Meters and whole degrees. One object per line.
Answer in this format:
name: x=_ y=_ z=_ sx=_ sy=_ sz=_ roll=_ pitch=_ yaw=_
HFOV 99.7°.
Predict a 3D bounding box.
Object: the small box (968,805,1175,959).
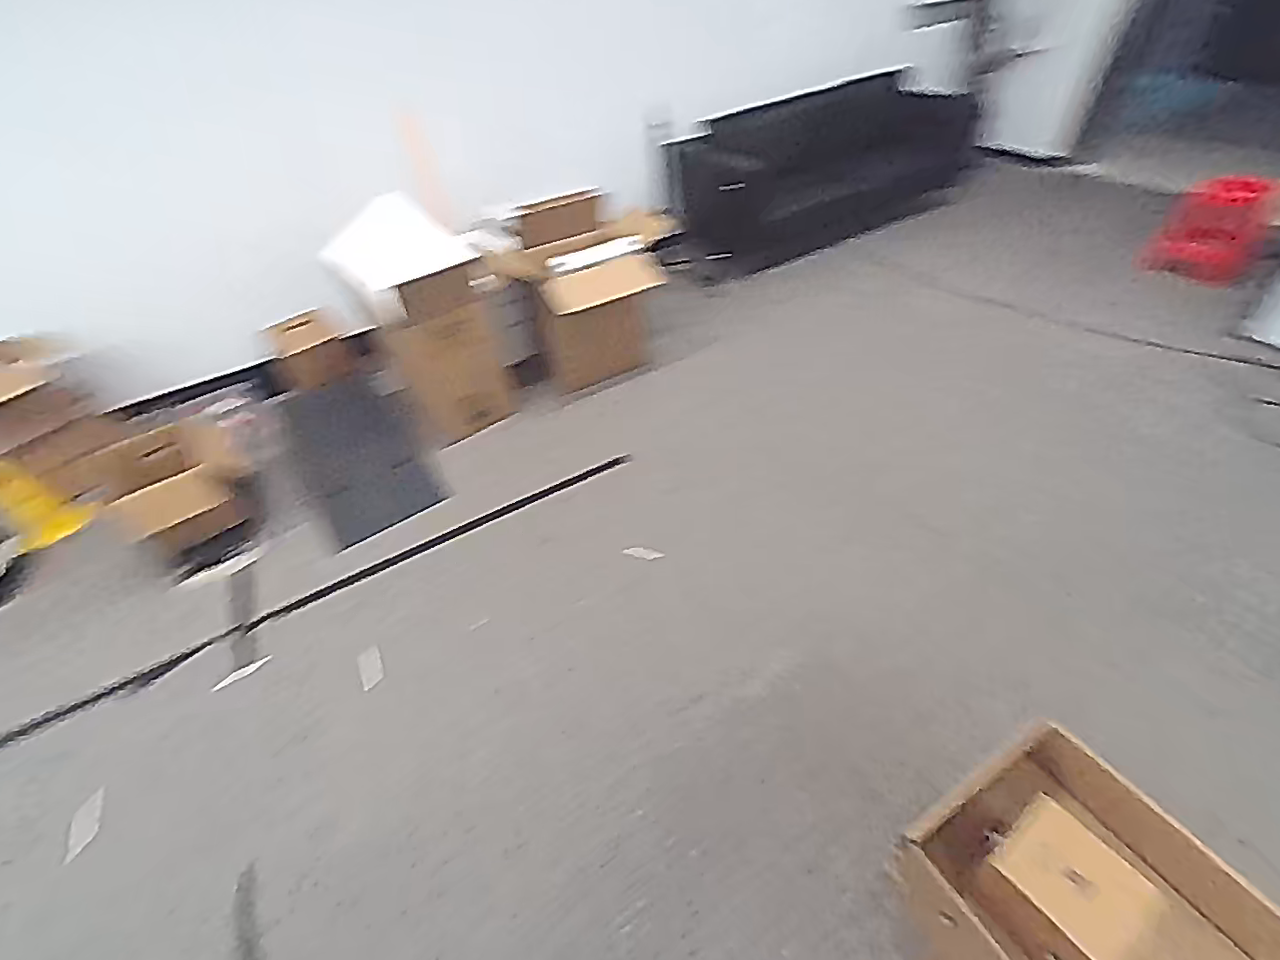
small box: x=0.681 y=0.678 z=0.875 sx=0.168 sy=0.176 sz=0.179 roll=-27 pitch=46 yaw=-22
